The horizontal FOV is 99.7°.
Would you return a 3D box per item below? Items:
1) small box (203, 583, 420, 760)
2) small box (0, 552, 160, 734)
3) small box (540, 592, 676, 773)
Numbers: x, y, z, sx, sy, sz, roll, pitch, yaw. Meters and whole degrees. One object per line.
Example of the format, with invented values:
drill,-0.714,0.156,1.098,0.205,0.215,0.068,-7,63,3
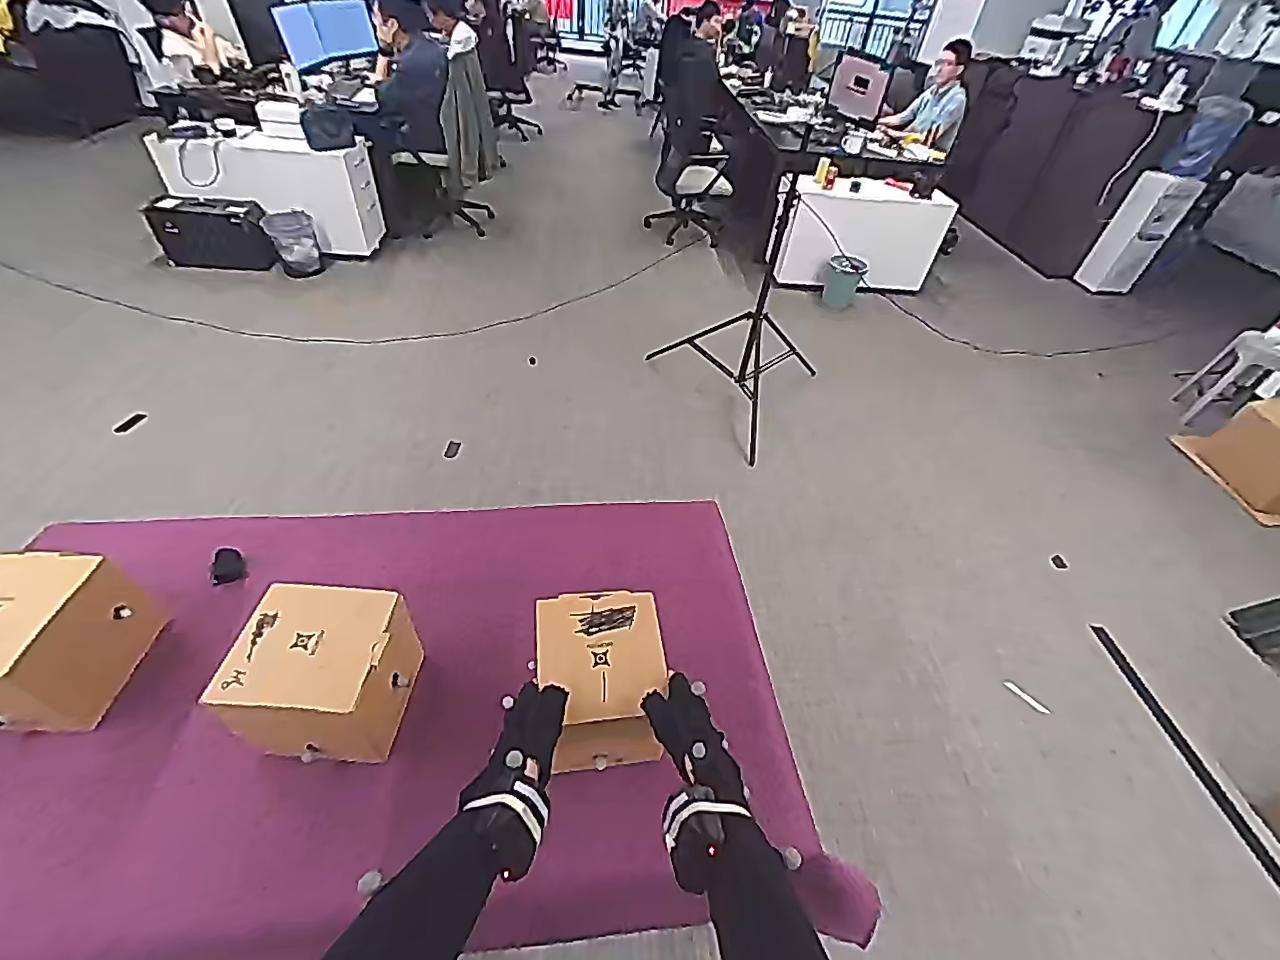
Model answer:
small box,-0.417,0.261,0.729,0.179,0.176,0.168,6,44,-2
small box,-0.806,0.218,0.725,0.168,0.176,0.179,2,45,-4
small box,-0.054,0.280,0.753,0.168,0.176,0.179,-3,45,-9
